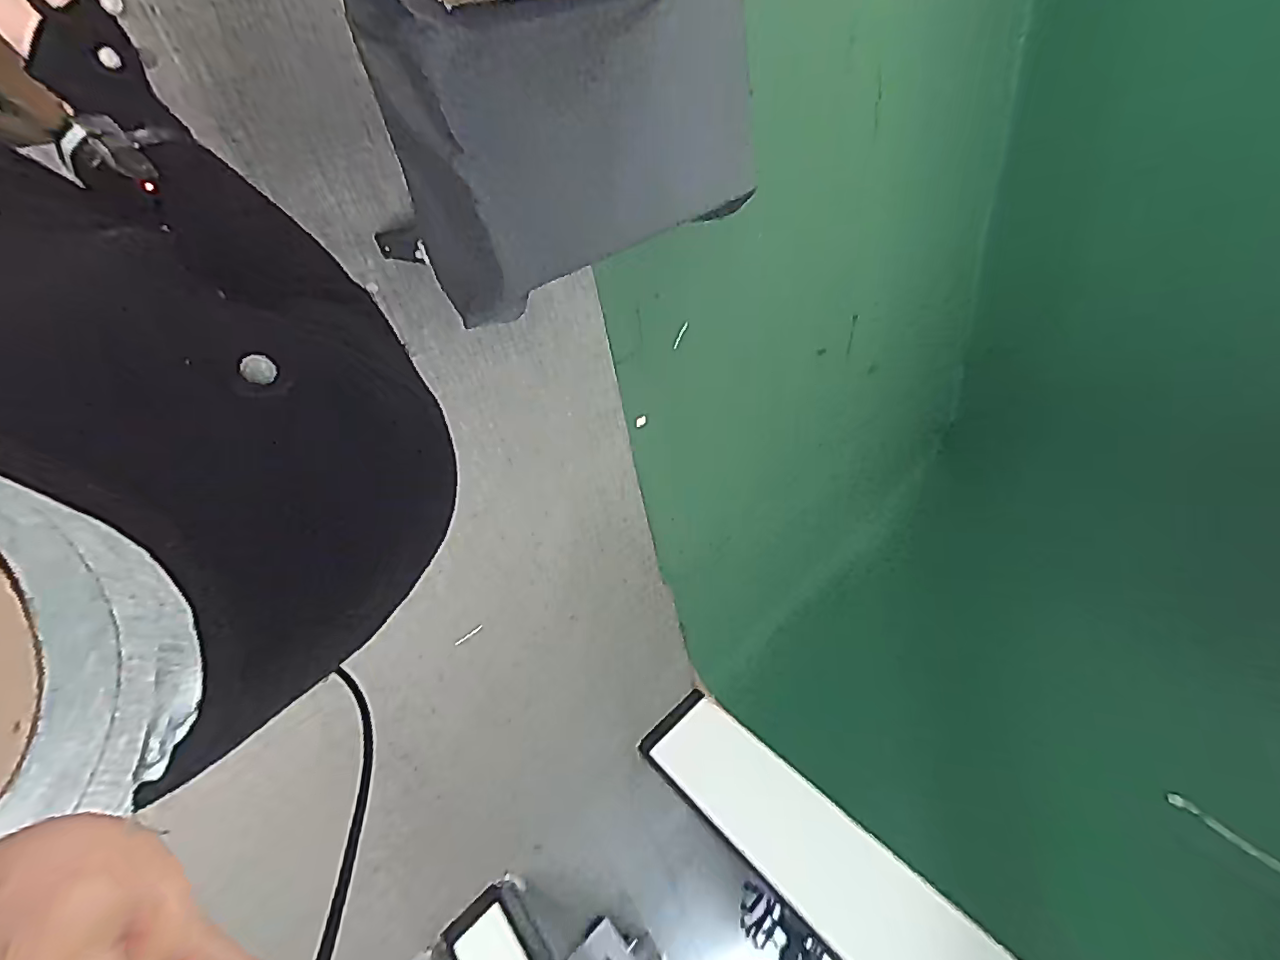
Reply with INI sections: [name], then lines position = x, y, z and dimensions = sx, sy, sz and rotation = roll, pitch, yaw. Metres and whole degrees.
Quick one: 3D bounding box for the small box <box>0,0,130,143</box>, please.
[small box]
position = -0.591, -0.412, 0.453
dimensions = 0.168, 0.176, 0.179
rotation = -24, 97, -24
